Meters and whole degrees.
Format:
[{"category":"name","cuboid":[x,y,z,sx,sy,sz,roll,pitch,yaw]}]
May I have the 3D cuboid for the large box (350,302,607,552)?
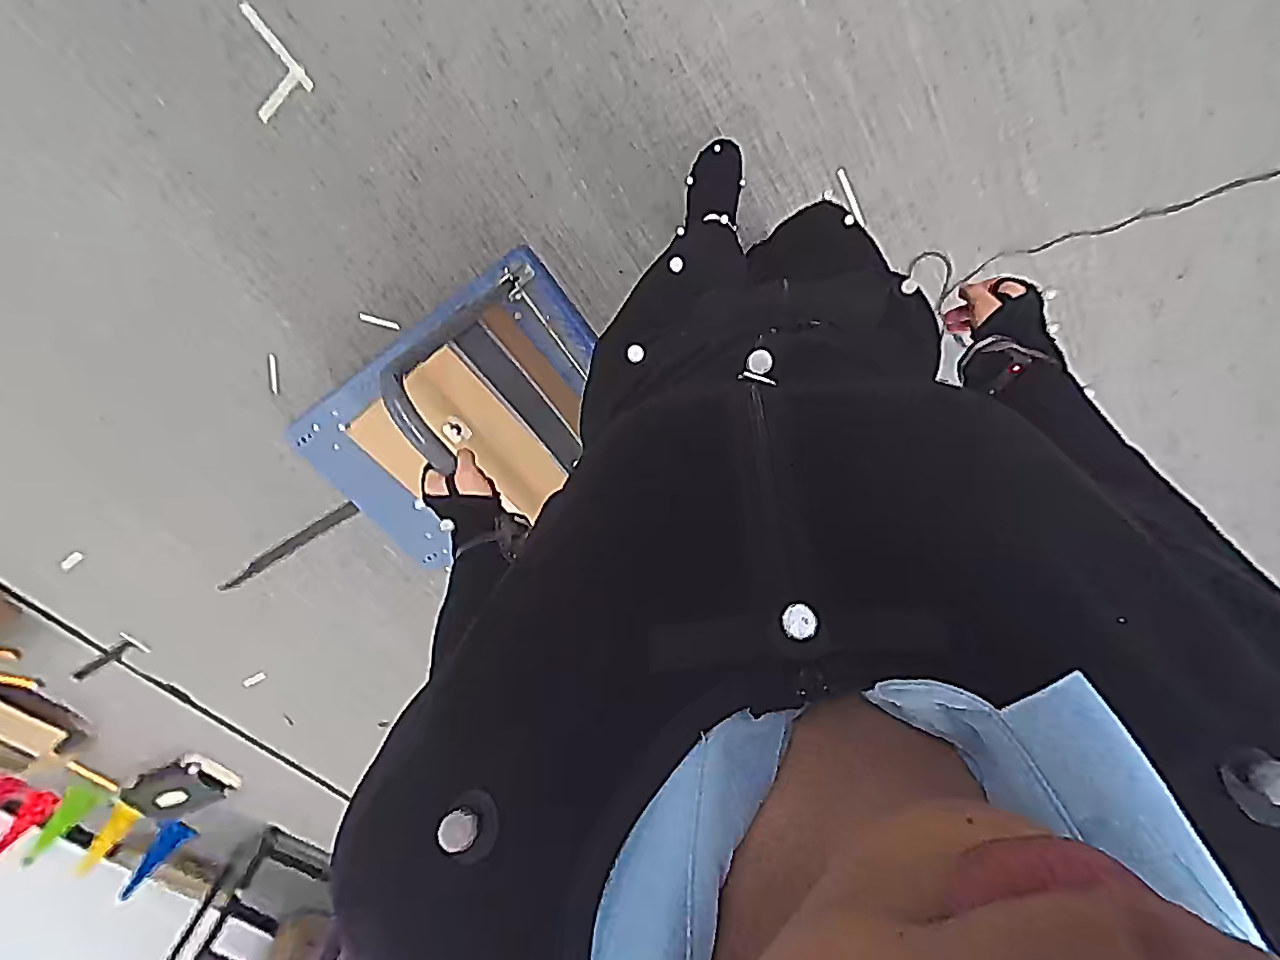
[{"category":"large box","cuboid":[-0.332,-0.121,1.229,0.320,0.320,0.408,-32,113,21]}]
